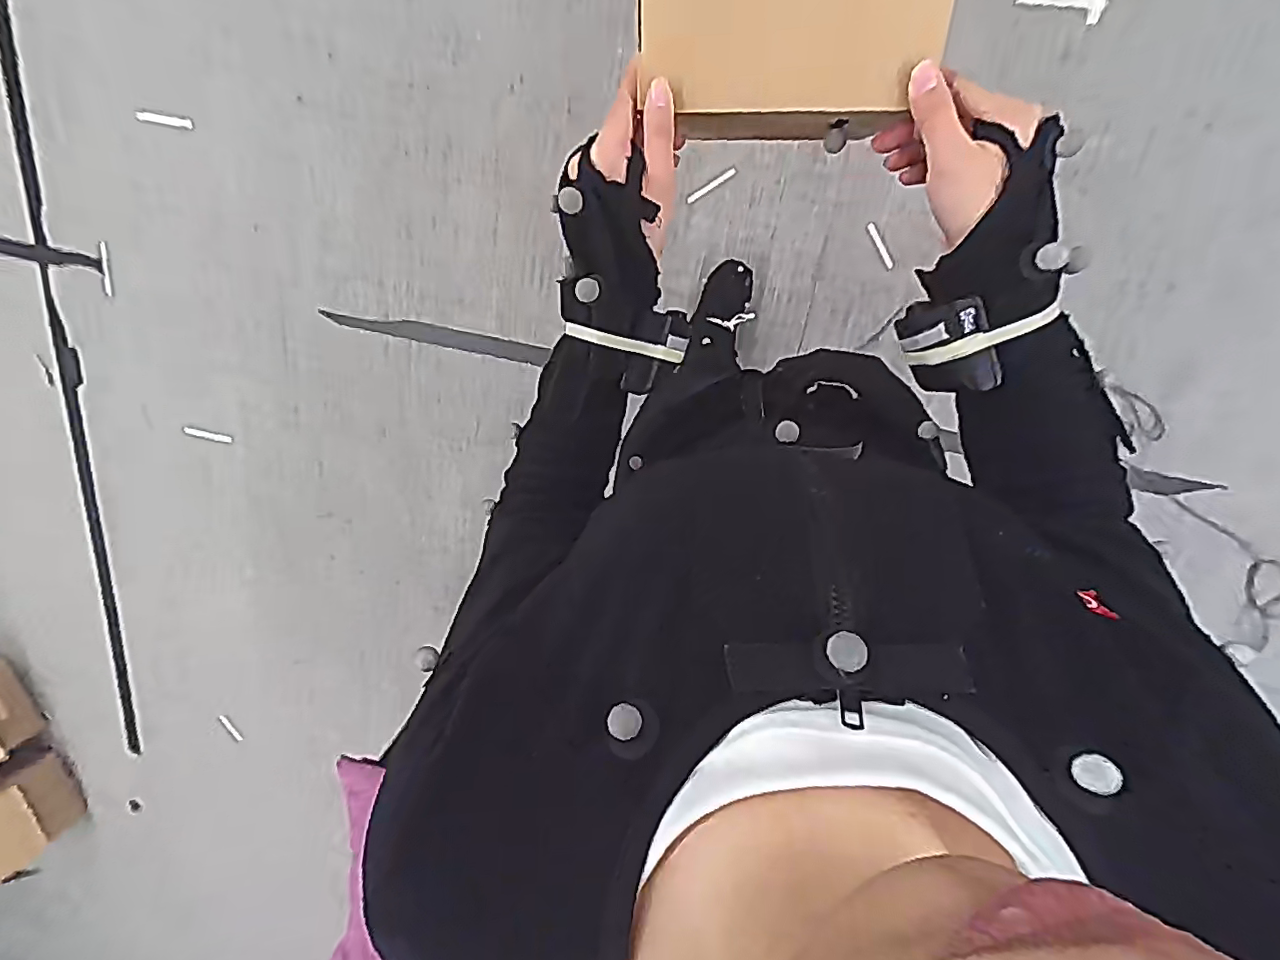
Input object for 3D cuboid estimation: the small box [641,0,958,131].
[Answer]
[{"bbox_3d":[0.097,-0.338,0.354,0.179,0.176,0.168,4,117,6],"label":"small box"}]
